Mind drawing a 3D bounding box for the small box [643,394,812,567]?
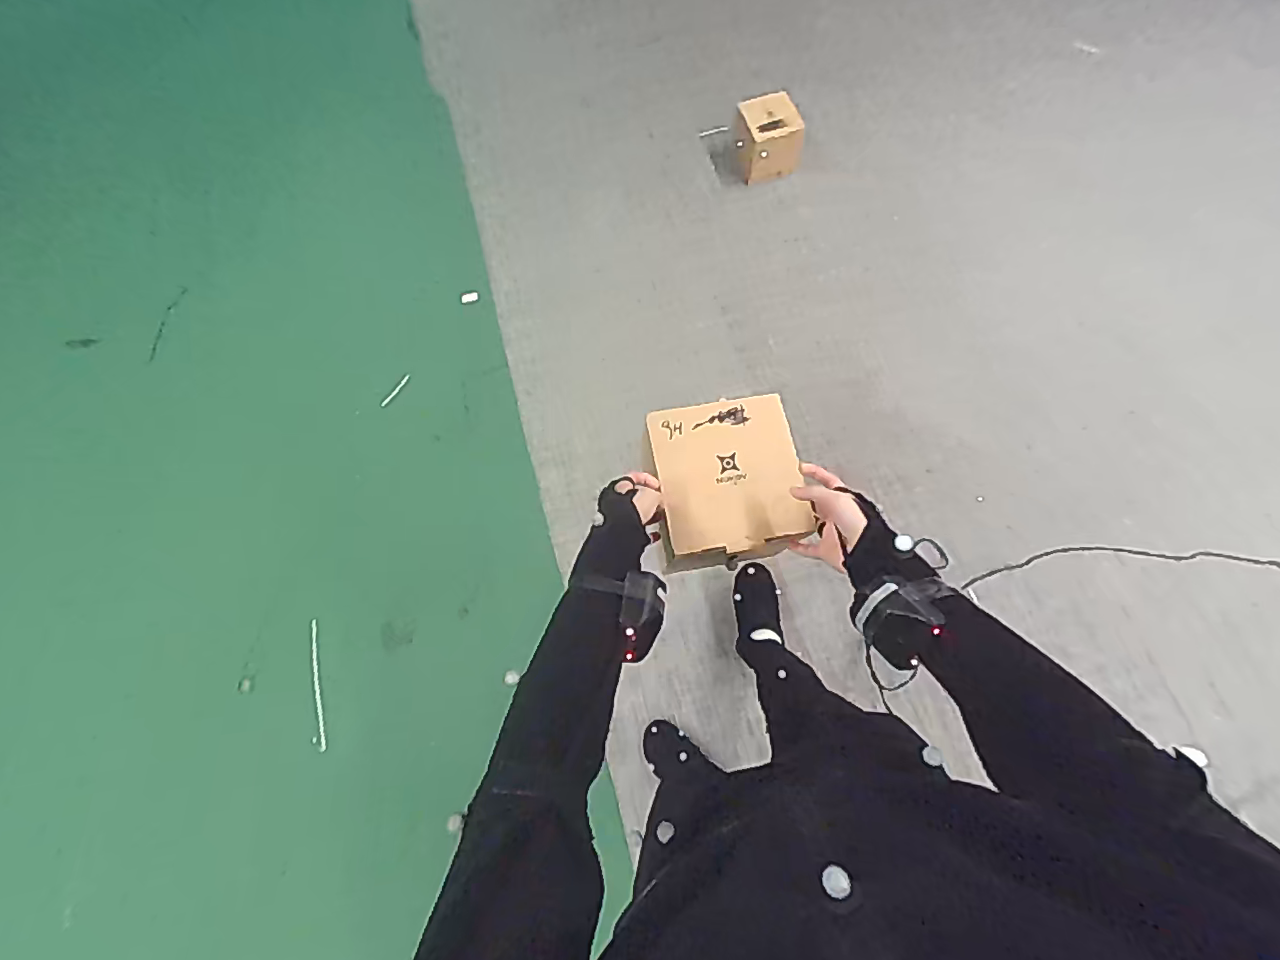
[{"bbox_3d":[0.098,0.012,0.692,0.168,0.176,0.179,-8,74,-5],"label":"small box"}]
